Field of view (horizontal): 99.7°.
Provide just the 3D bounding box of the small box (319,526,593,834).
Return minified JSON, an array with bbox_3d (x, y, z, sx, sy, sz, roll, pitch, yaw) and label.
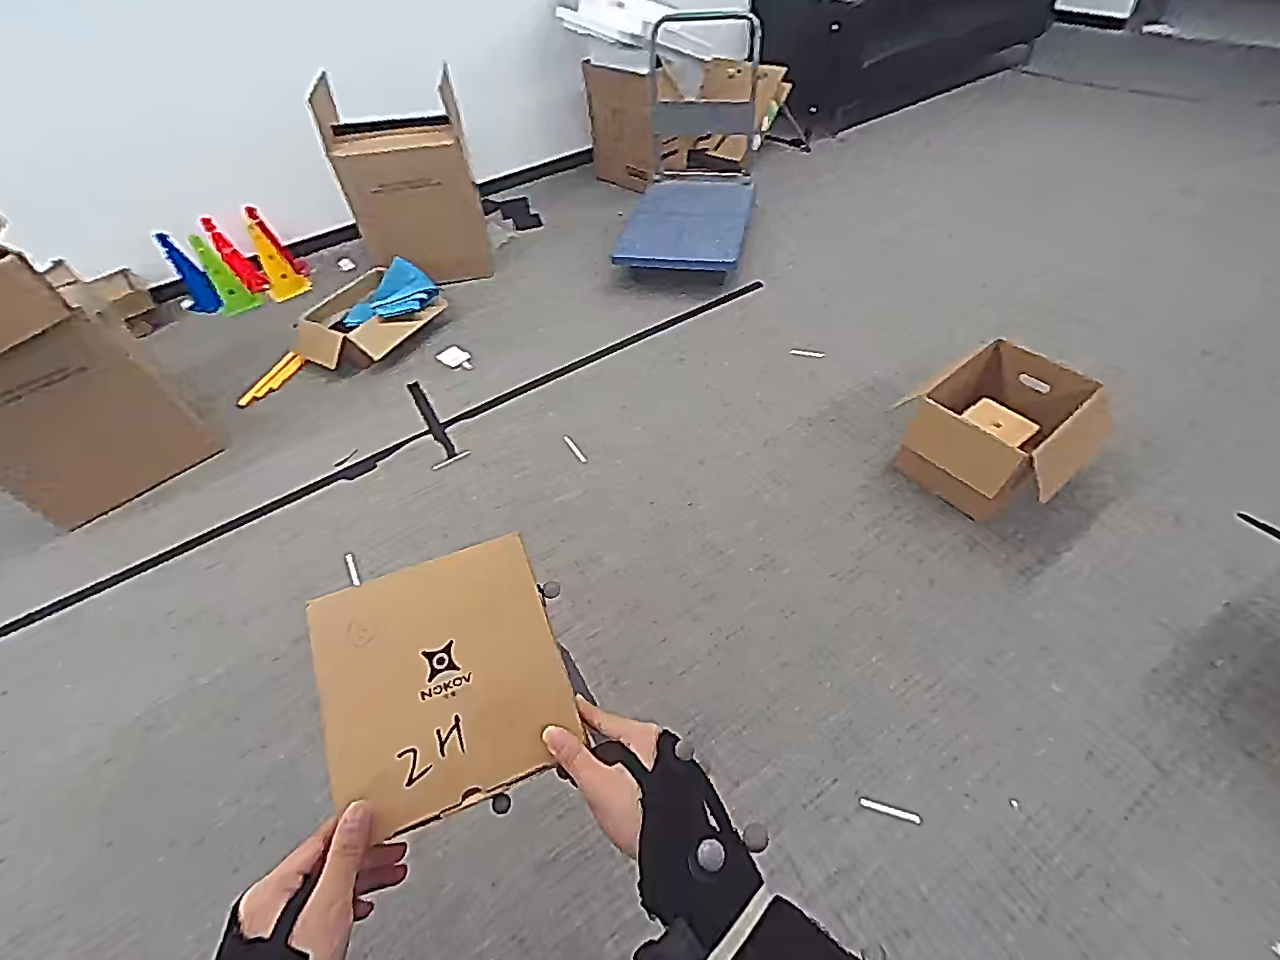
[{"bbox_3d":[-0.145,0.169,0.466,0.168,0.176,0.179,-18,66,-13],"label":"small box"}]
